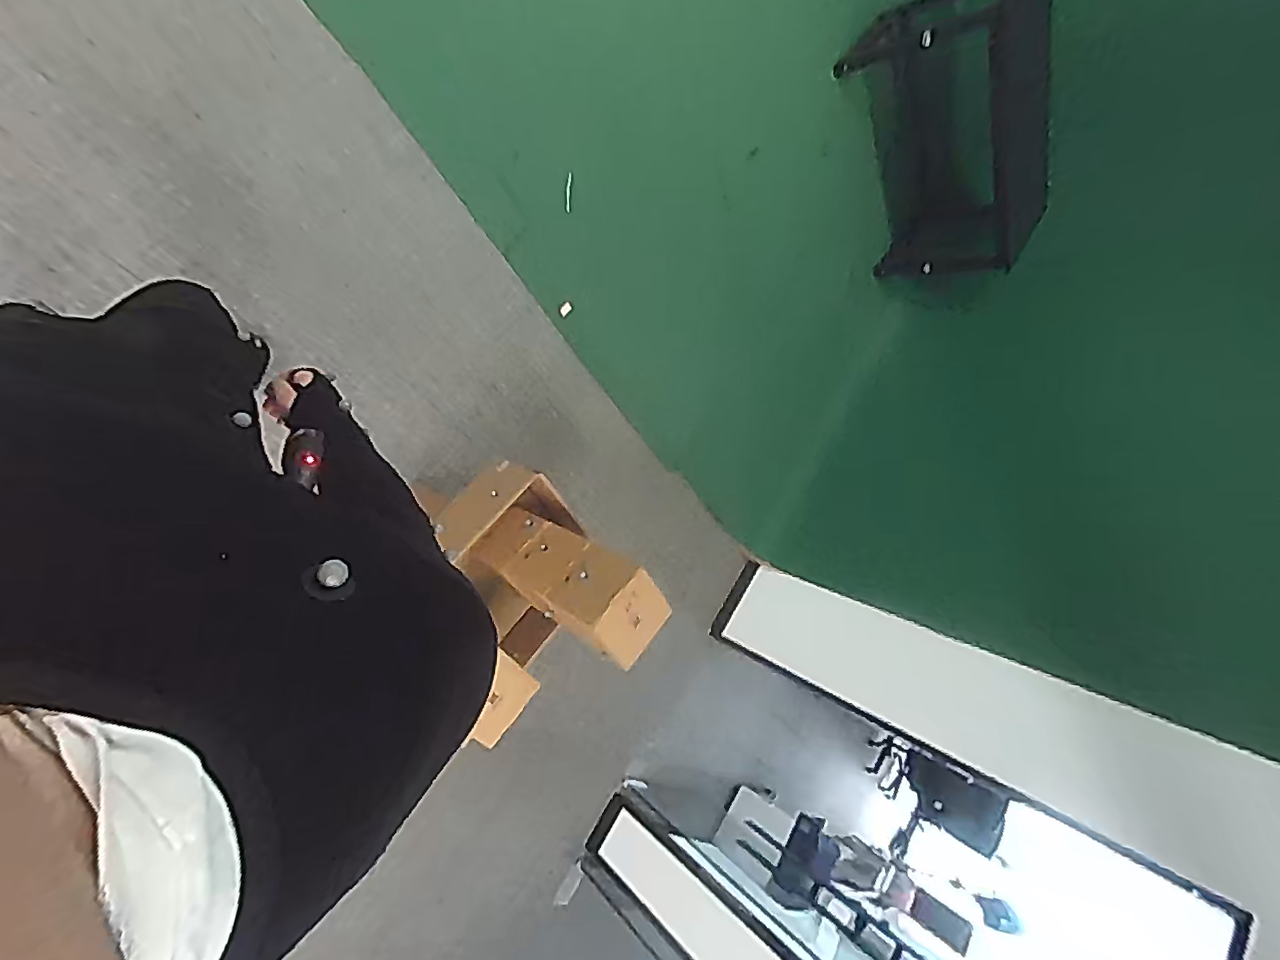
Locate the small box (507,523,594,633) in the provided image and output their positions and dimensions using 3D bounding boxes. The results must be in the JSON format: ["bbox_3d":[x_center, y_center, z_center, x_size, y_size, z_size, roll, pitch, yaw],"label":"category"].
[{"bbox_3d":[-0.185,0.229,1.305,0.168,0.176,0.179,-49,131,-22],"label":"small box"}]

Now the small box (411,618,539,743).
[{"bbox_3d":[-0.363,0.434,1.192,0.168,0.176,0.179,-50,131,-23],"label":"small box"}]

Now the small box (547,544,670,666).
[{"bbox_3d":[-0.070,0.268,1.193,0.168,0.176,0.179,-48,131,-23],"label":"small box"}]
